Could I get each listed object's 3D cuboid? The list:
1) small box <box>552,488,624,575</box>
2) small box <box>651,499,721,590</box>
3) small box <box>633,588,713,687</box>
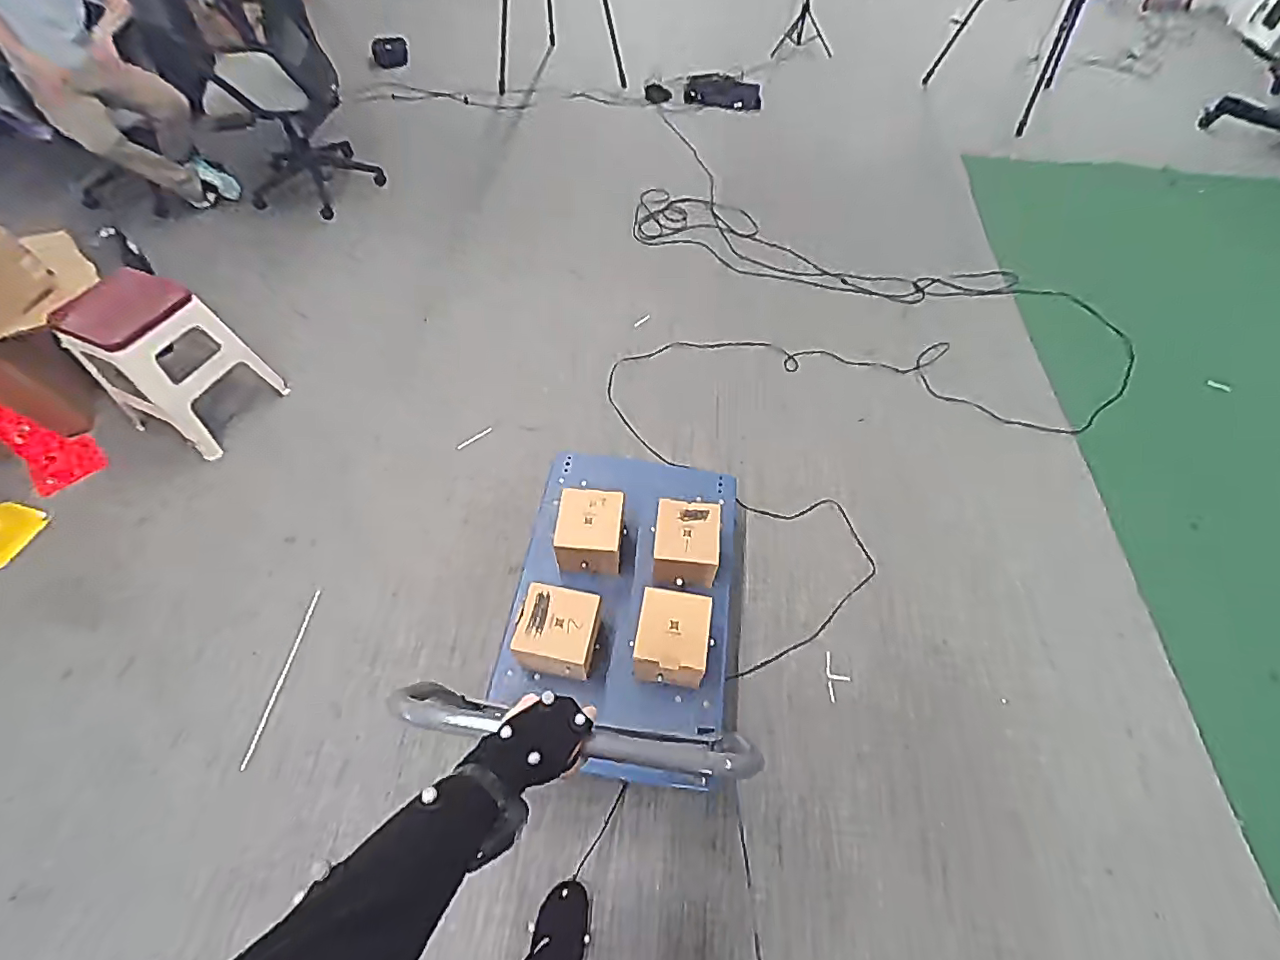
[{"bbox_3d":[-0.133,0.144,1.459,0.168,0.176,0.179,5,57,1],"label":"small box"},{"bbox_3d":[0.120,0.175,1.448,0.168,0.176,0.179,6,59,3],"label":"small box"},{"bbox_3d":[0.076,0.386,1.313,0.168,0.176,0.179,9,59,4],"label":"small box"}]
